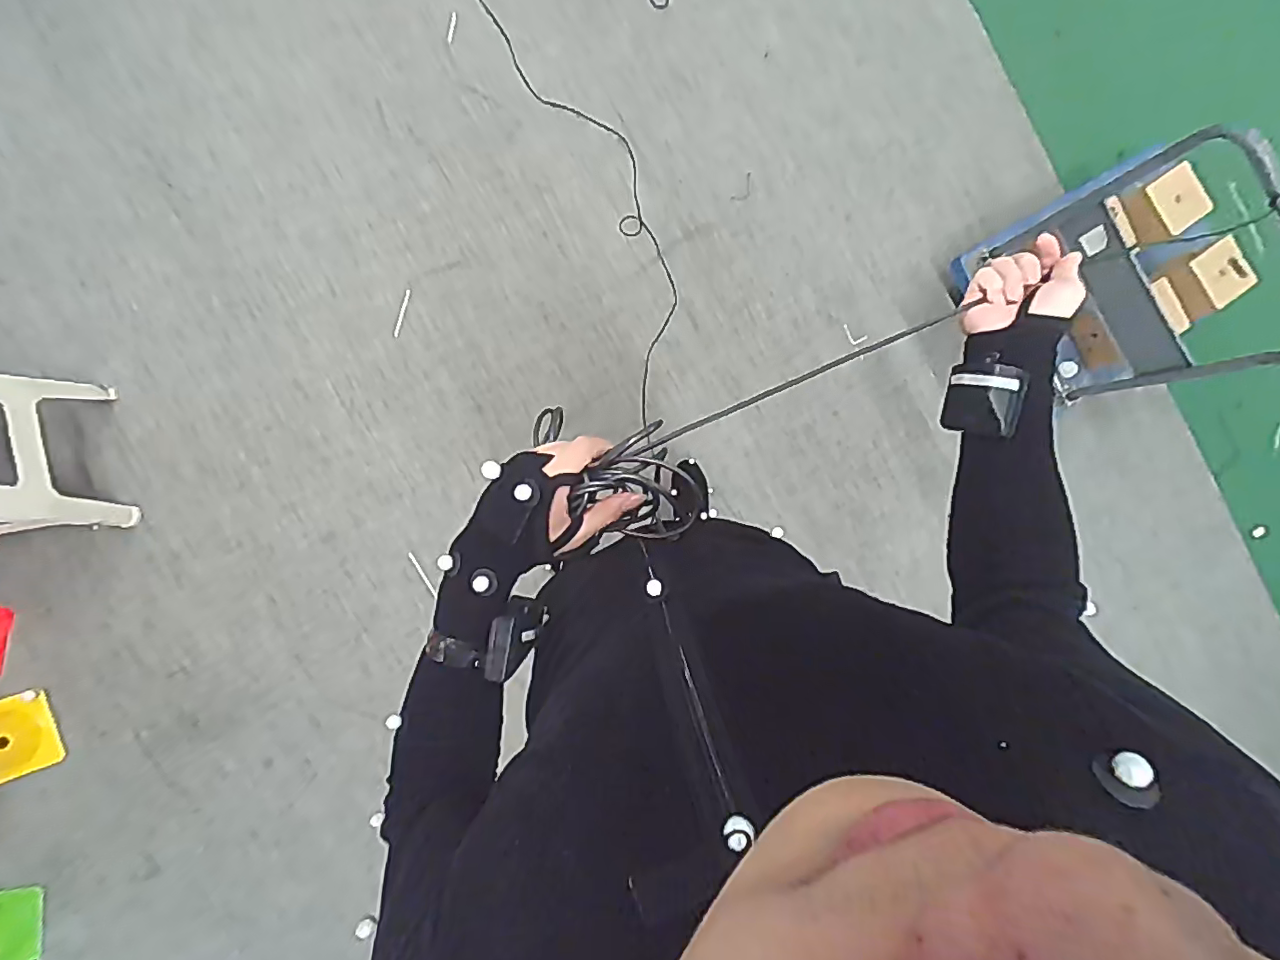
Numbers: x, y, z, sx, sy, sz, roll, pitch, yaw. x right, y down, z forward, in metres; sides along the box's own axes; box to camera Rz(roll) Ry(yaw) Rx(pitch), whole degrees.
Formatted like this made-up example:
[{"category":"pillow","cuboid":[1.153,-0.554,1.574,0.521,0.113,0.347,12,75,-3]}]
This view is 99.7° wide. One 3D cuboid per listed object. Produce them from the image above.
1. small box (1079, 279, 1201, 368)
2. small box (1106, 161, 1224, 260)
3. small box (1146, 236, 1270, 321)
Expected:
[{"category":"small box","cuboid":[1.459,-0.452,1.587,0.179,0.176,0.168,-29,91,-7]},{"category":"small box","cuboid":[1.550,-0.795,1.614,0.179,0.176,0.168,-34,92,-8]},{"category":"small box","cuboid":[1.691,-0.586,1.622,0.179,0.176,0.168,-34,91,-6]}]
